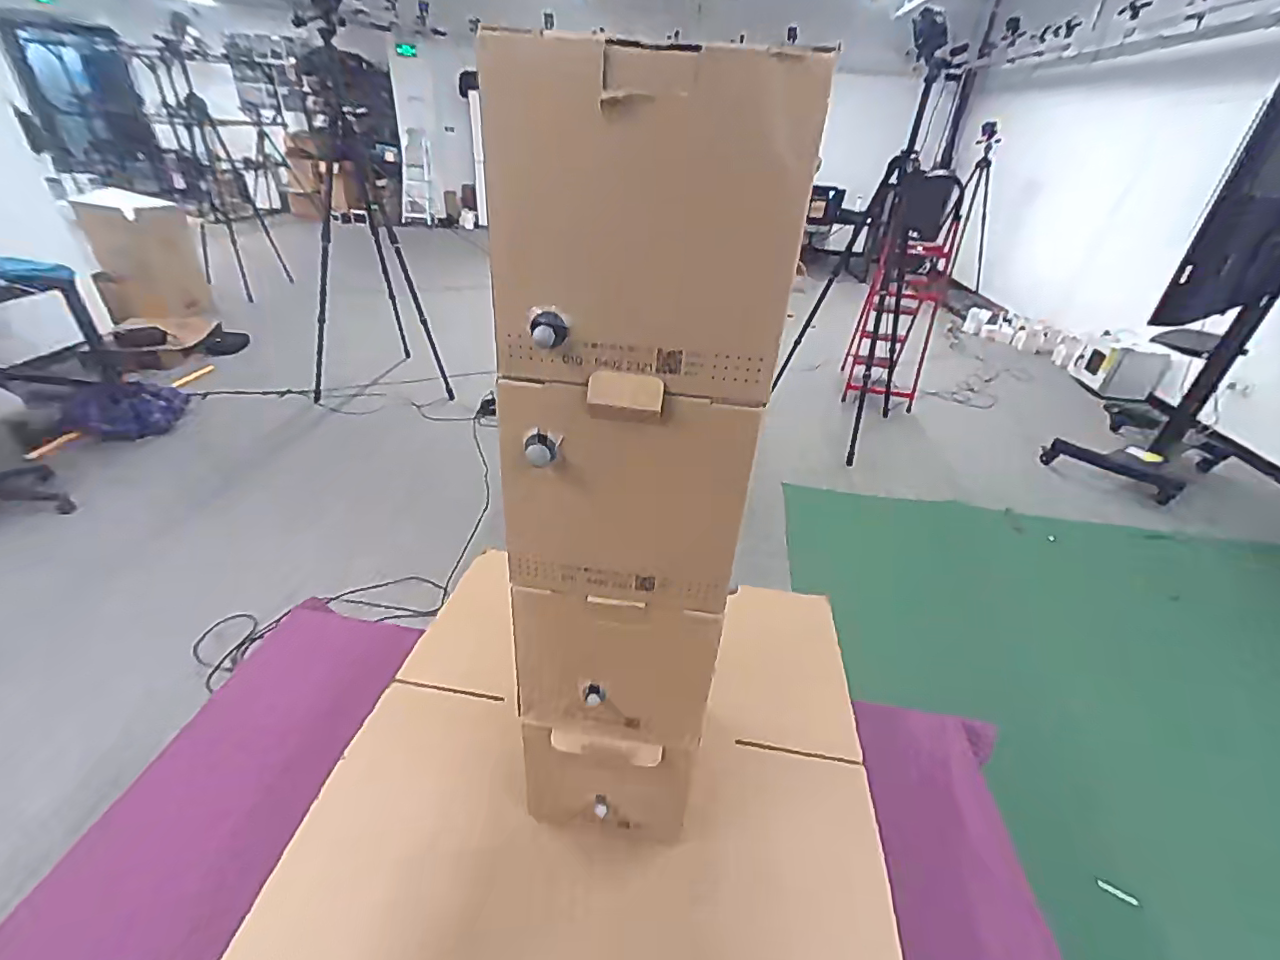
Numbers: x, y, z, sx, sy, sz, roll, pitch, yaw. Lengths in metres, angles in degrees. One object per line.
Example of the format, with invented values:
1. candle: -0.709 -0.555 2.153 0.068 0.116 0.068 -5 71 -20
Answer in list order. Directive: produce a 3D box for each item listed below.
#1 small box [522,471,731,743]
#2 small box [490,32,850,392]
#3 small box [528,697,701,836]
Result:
1. small box: -0.009 0.114 0.521 0.168 0.176 0.179 7 32 4
2. small box: 0.014 -0.167 0.352 0.168 0.176 0.179 5 33 0
3. small box: -0.019 0.252 0.606 0.168 0.176 0.179 8 32 6
